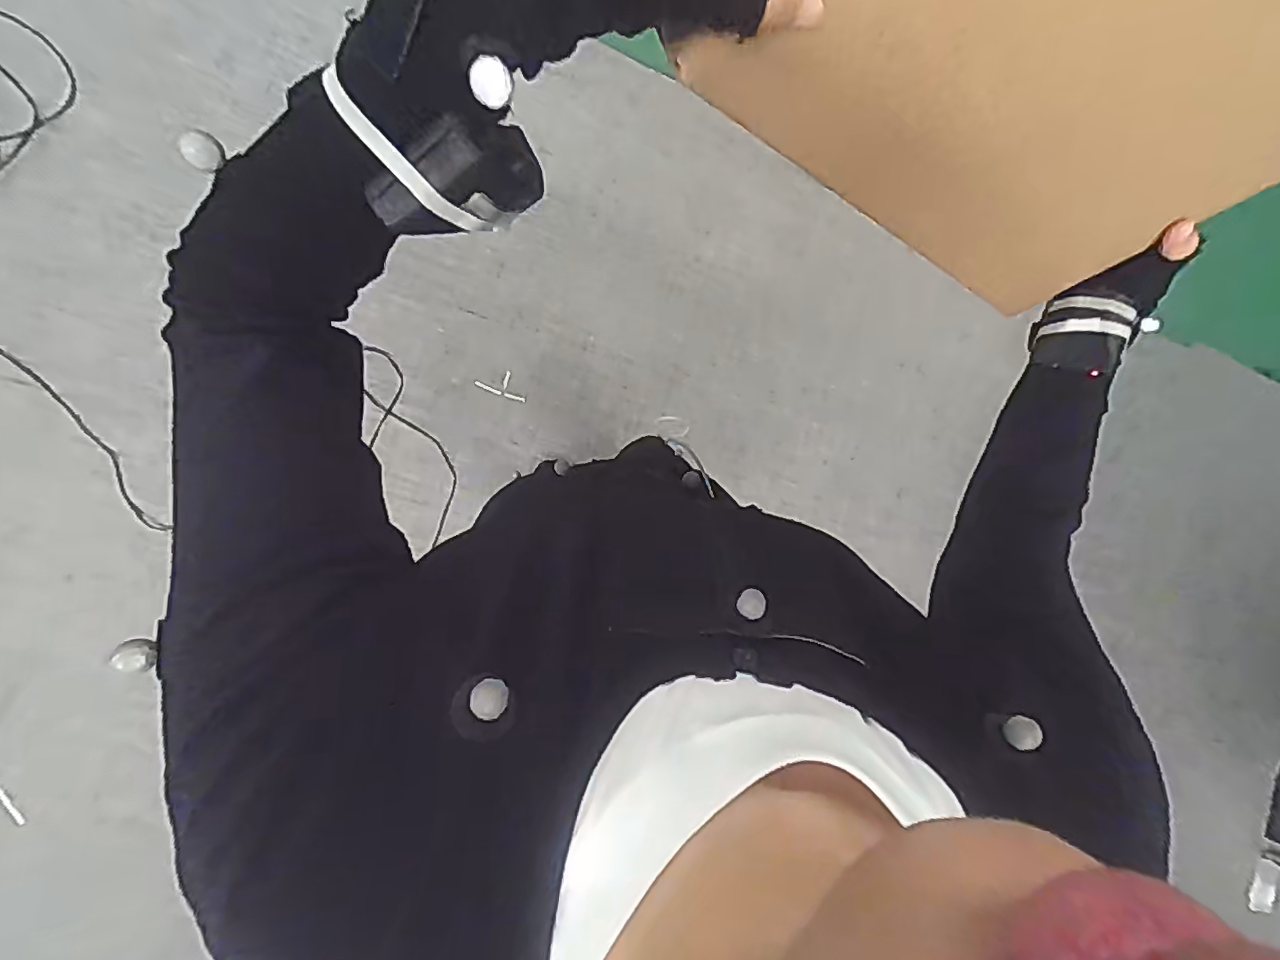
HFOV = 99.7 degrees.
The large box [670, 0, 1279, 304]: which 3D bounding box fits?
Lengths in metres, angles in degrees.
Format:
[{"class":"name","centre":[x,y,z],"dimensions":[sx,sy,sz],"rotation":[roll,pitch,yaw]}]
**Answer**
[{"class":"large box","centre":[0.232,-0.354,0.294],"dimensions":[0.408,0.320,0.320],"rotation":[5,68,-40]}]
